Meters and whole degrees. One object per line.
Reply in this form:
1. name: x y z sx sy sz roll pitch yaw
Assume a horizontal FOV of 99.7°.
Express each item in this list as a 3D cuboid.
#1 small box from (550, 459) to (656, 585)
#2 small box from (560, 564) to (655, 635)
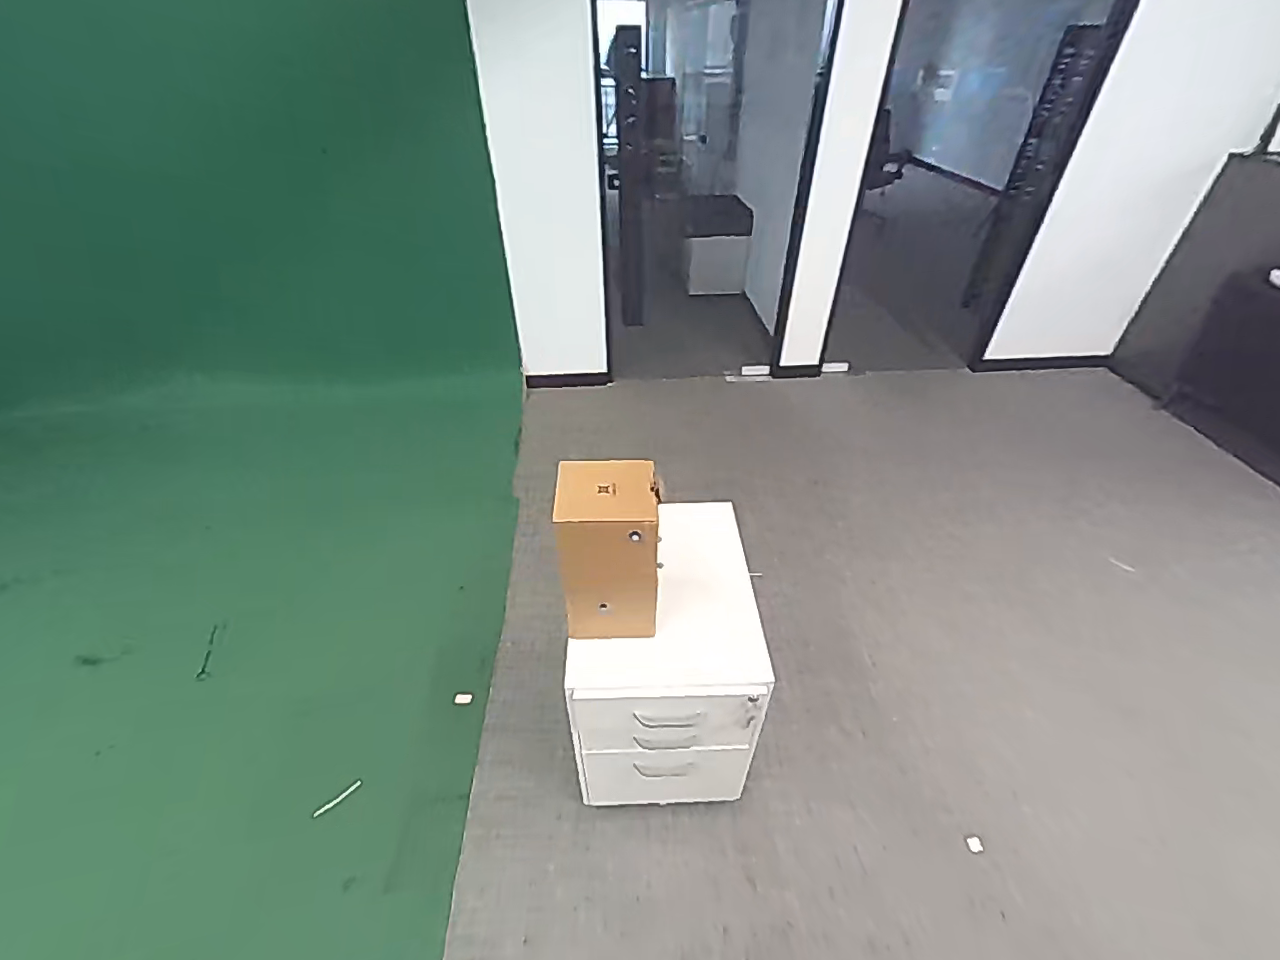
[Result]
1. small box: -0.063 0.077 0.982 0.179 0.176 0.168 -1 39 -3
2. small box: -0.061 0.199 1.091 0.179 0.176 0.168 -1 40 -2
